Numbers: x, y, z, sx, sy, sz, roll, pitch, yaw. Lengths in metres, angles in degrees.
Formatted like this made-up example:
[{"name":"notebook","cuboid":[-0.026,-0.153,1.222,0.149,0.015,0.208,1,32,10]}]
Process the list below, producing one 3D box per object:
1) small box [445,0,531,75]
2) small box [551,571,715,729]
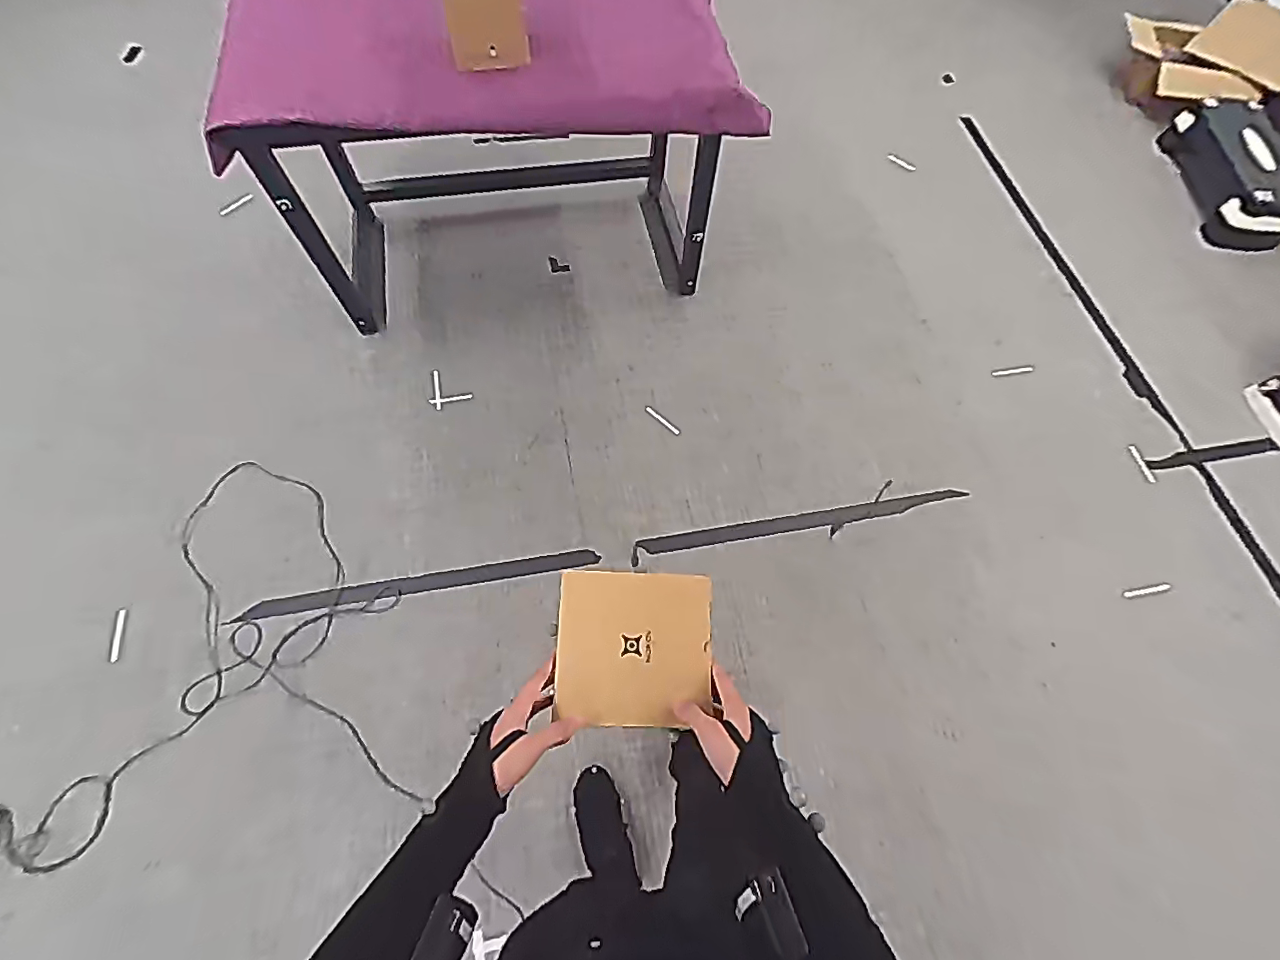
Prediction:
[{"name":"small box","cuboid":[-0.355,-1.087,1.264,0.179,0.176,0.168,-11,66,-8]},{"name":"small box","cuboid":[-0.013,0.214,0.667,0.179,0.176,0.168,4,68,-7]}]
